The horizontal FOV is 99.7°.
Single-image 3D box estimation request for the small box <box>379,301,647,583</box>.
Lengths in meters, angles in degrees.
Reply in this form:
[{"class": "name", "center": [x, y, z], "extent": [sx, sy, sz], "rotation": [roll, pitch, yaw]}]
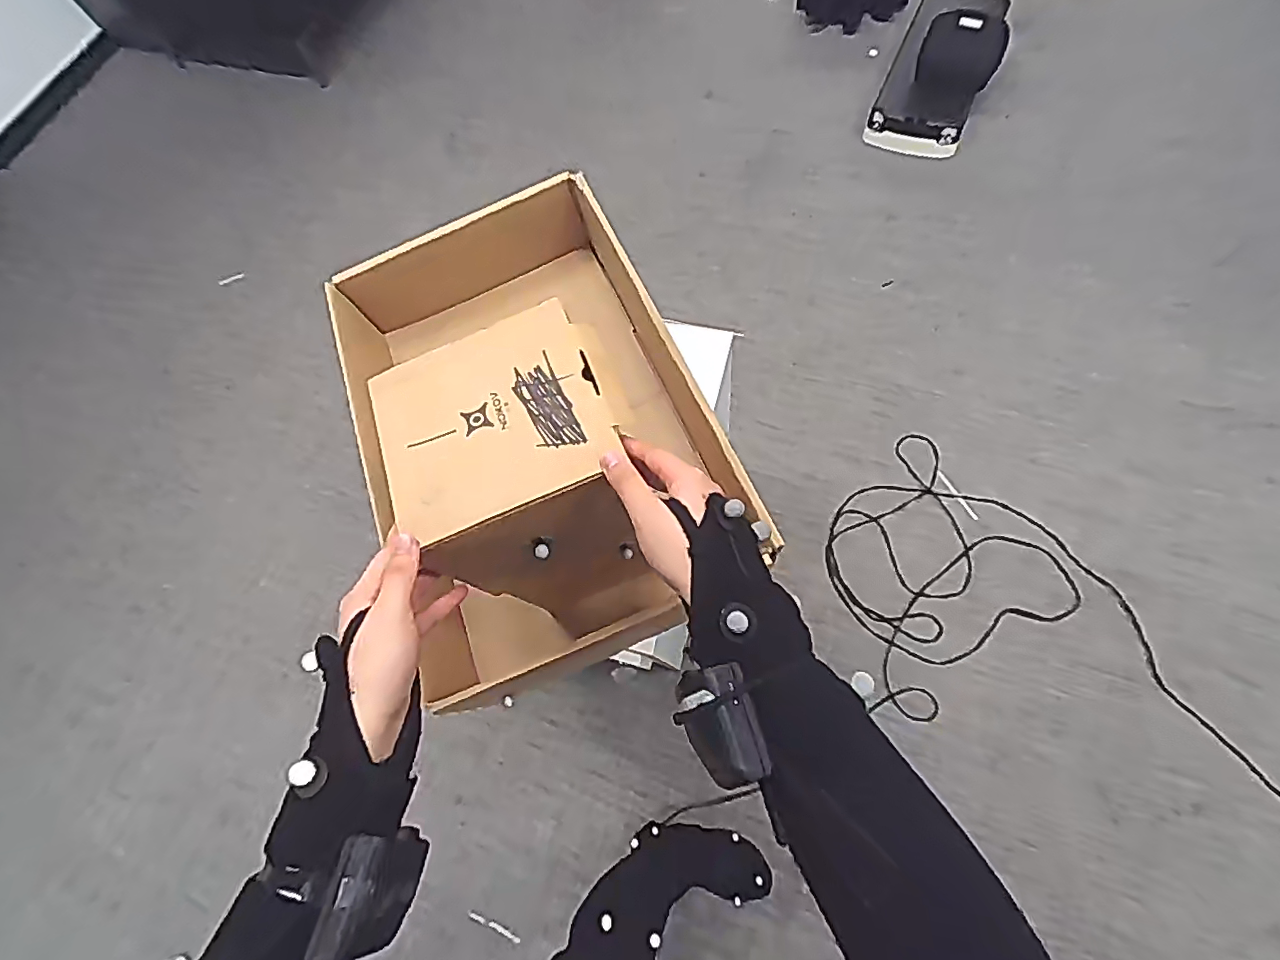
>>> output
[{"class": "small box", "center": [-0.102, -0.022, 0.498], "extent": [0.179, 0.176, 0.168], "rotation": [-23, 66, 1]}]
